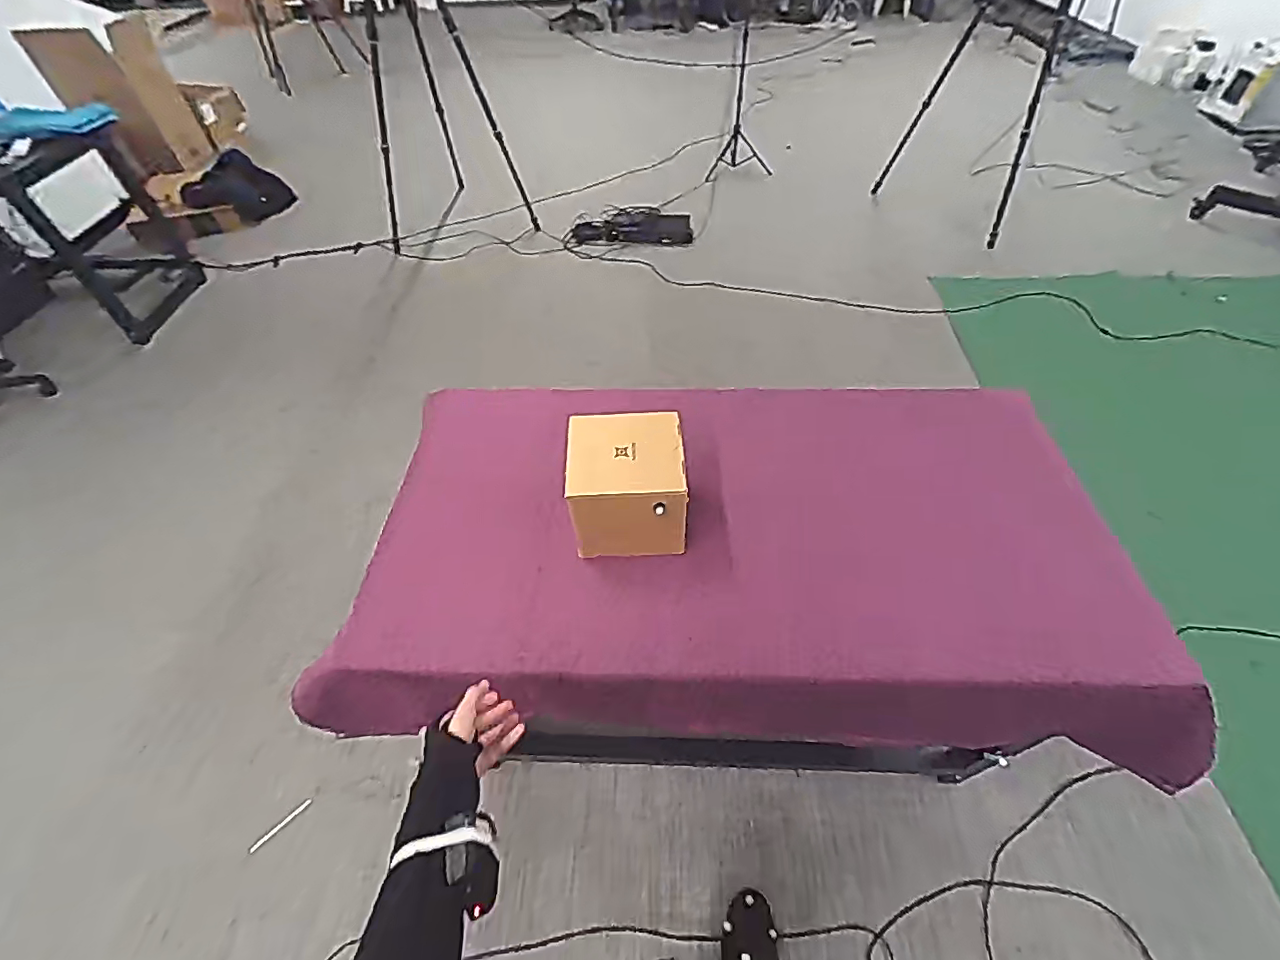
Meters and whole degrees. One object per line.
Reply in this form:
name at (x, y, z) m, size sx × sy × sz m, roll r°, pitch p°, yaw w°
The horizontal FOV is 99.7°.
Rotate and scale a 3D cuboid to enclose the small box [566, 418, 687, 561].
small box at (-0.019, 0.020, 0.877) m, size 0.179 × 0.176 × 0.168 m, roll -3°, pitch 50°, yaw -1°
